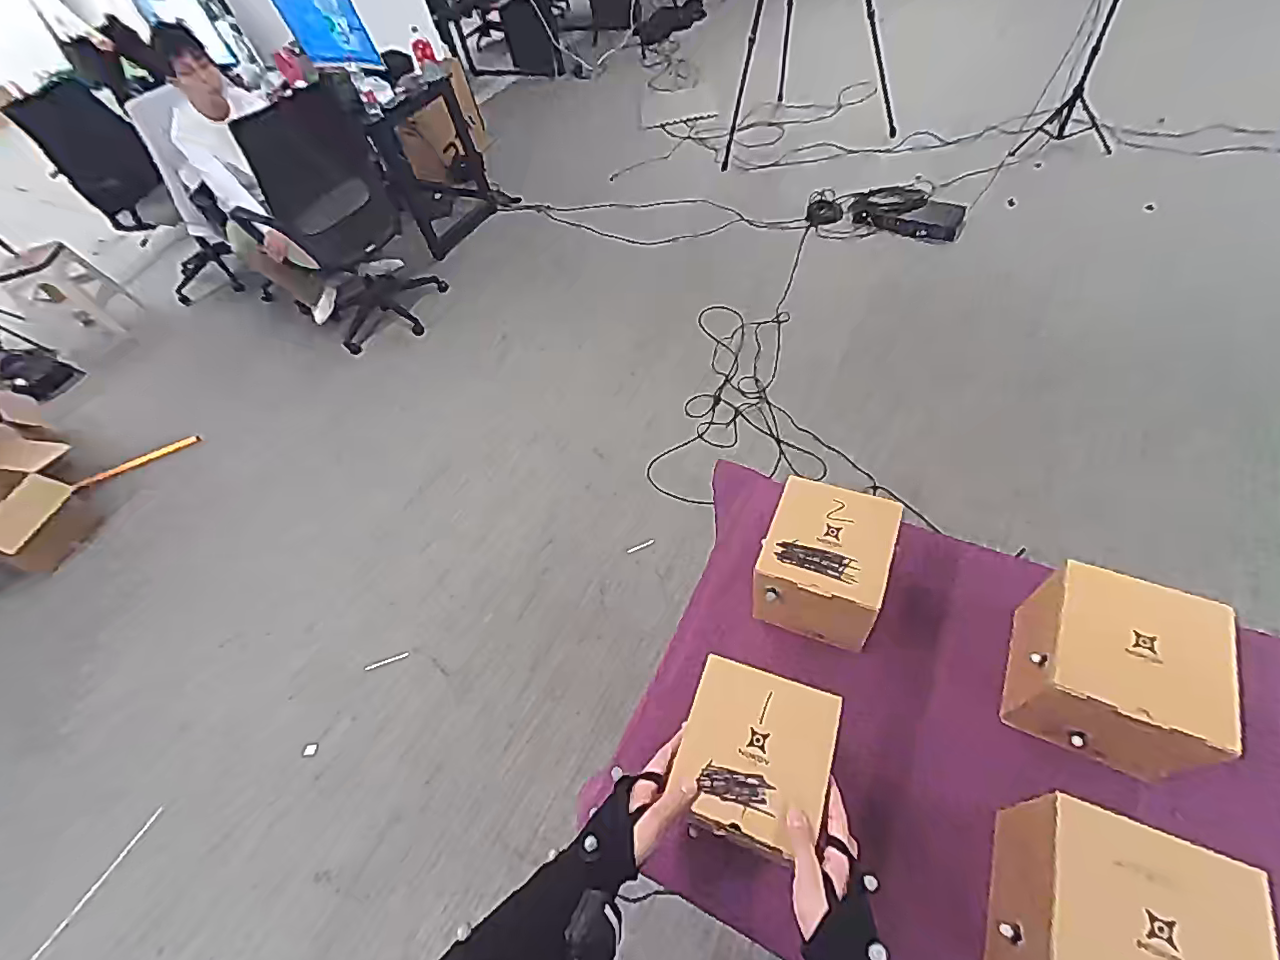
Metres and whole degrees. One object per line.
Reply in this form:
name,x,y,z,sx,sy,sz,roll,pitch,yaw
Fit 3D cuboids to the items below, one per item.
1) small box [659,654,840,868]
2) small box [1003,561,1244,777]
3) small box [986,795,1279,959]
small box,0.138,0.351,0.671,0.168,0.176,0.179,14,56,20
small box,0.580,0.236,0.671,0.168,0.176,0.179,19,61,23
small box,0.465,0.450,0.533,0.168,0.176,0.179,16,57,21
